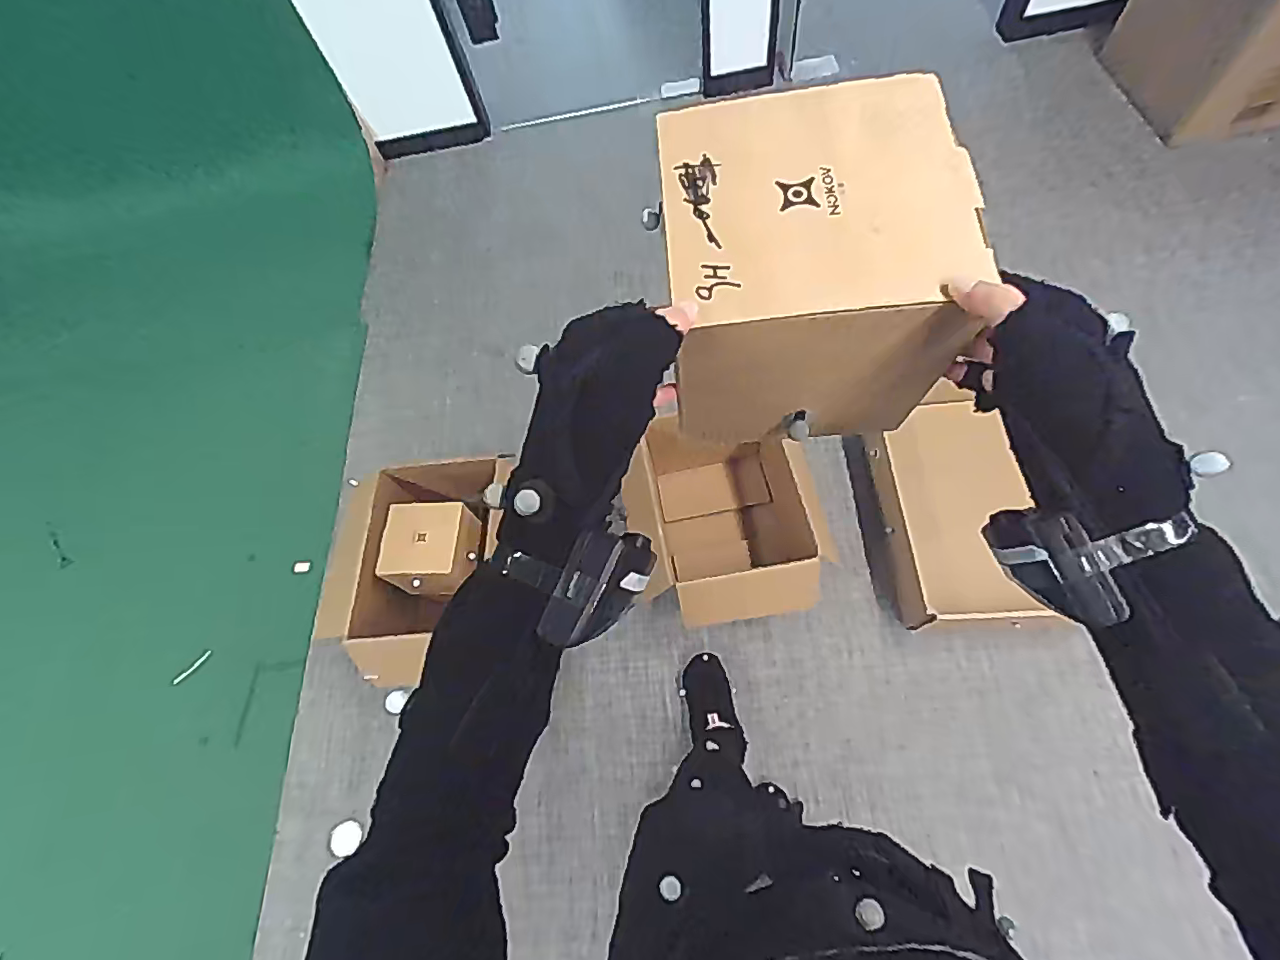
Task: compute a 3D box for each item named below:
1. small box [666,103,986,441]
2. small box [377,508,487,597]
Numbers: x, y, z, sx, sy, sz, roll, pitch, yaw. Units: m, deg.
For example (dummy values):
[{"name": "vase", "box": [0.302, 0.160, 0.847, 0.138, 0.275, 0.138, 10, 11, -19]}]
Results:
[{"name": "small box", "box": [0.110, -0.138, 0.405, 0.179, 0.176, 0.168, -3, 69, 3]}, {"name": "small box", "box": [-0.475, 0.173, 1.265, 0.179, 0.176, 0.168, -2, 64, 6]}]
